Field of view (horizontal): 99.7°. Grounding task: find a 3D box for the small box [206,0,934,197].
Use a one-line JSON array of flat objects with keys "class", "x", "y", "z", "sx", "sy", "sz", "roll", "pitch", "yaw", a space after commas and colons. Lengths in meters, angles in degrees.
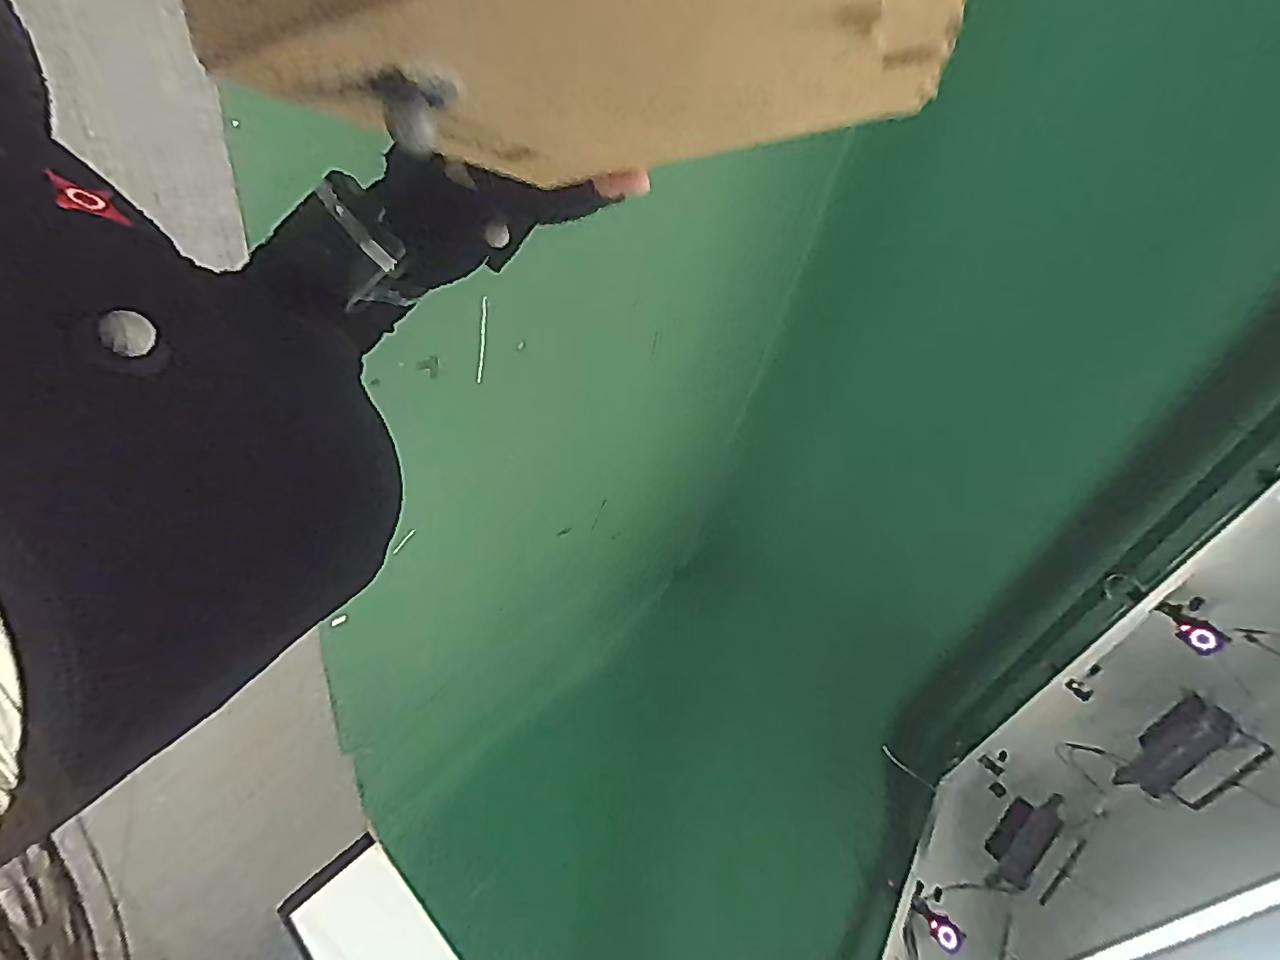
[{"class": "small box", "x": -0.012, "y": -0.194, "z": 0.149, "sx": 0.168, "sy": 0.176, "sz": 0.179, "roll": -47, "pitch": 133, "yaw": -64}]
